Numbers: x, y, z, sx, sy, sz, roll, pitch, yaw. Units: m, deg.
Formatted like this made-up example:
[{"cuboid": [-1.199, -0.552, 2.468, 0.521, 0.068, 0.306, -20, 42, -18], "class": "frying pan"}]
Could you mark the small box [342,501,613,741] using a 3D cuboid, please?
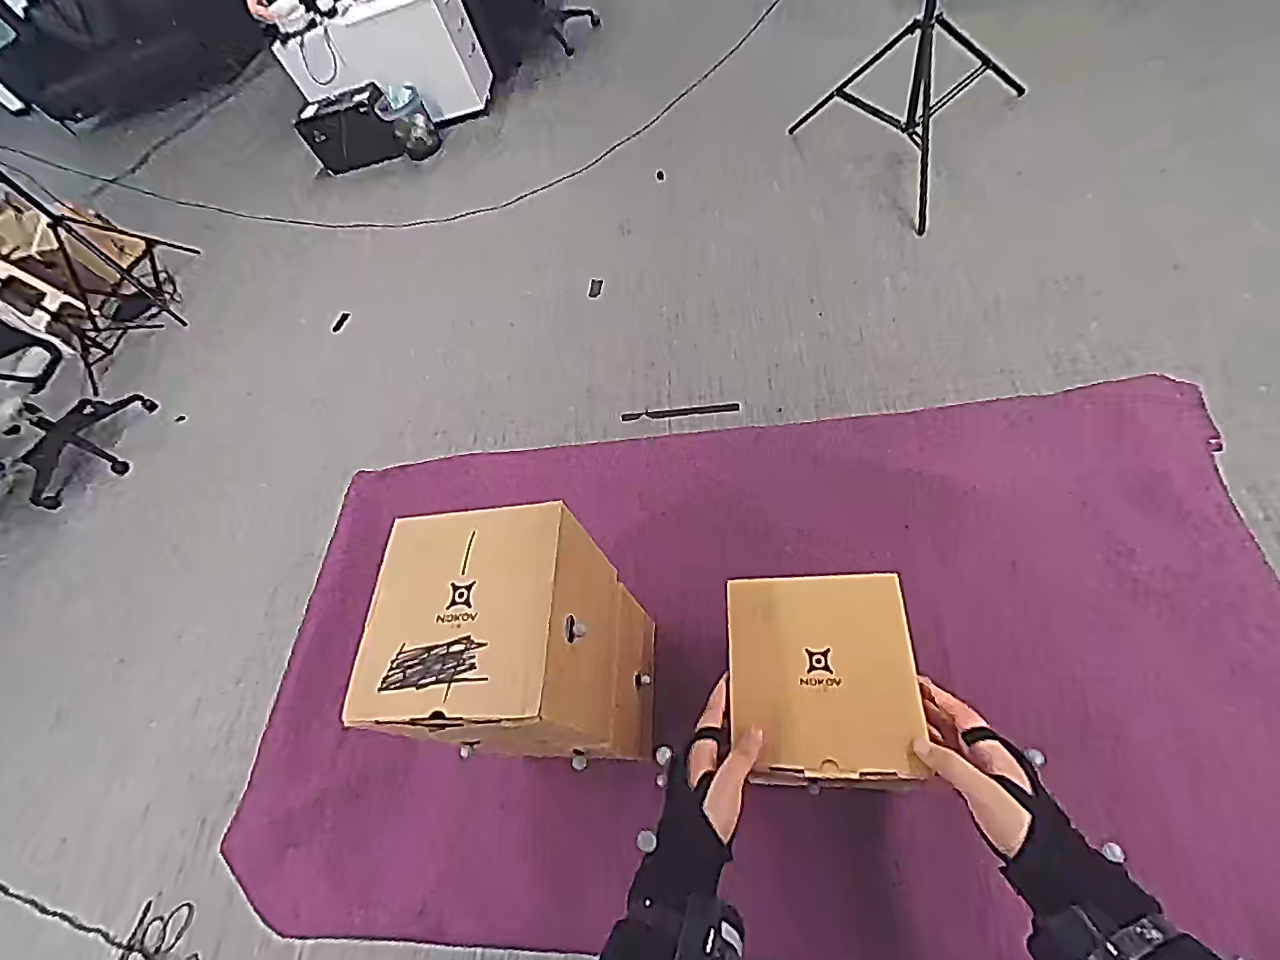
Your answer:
[{"cuboid": [-0.128, 0.140, 0.501, 0.168, 0.176, 0.179, -6, 58, 12], "class": "small box"}]

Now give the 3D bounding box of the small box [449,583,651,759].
[{"cuboid": [-0.087, 0.228, 0.634, 0.179, 0.176, 0.168, -5, 59, 14], "class": "small box"}]
